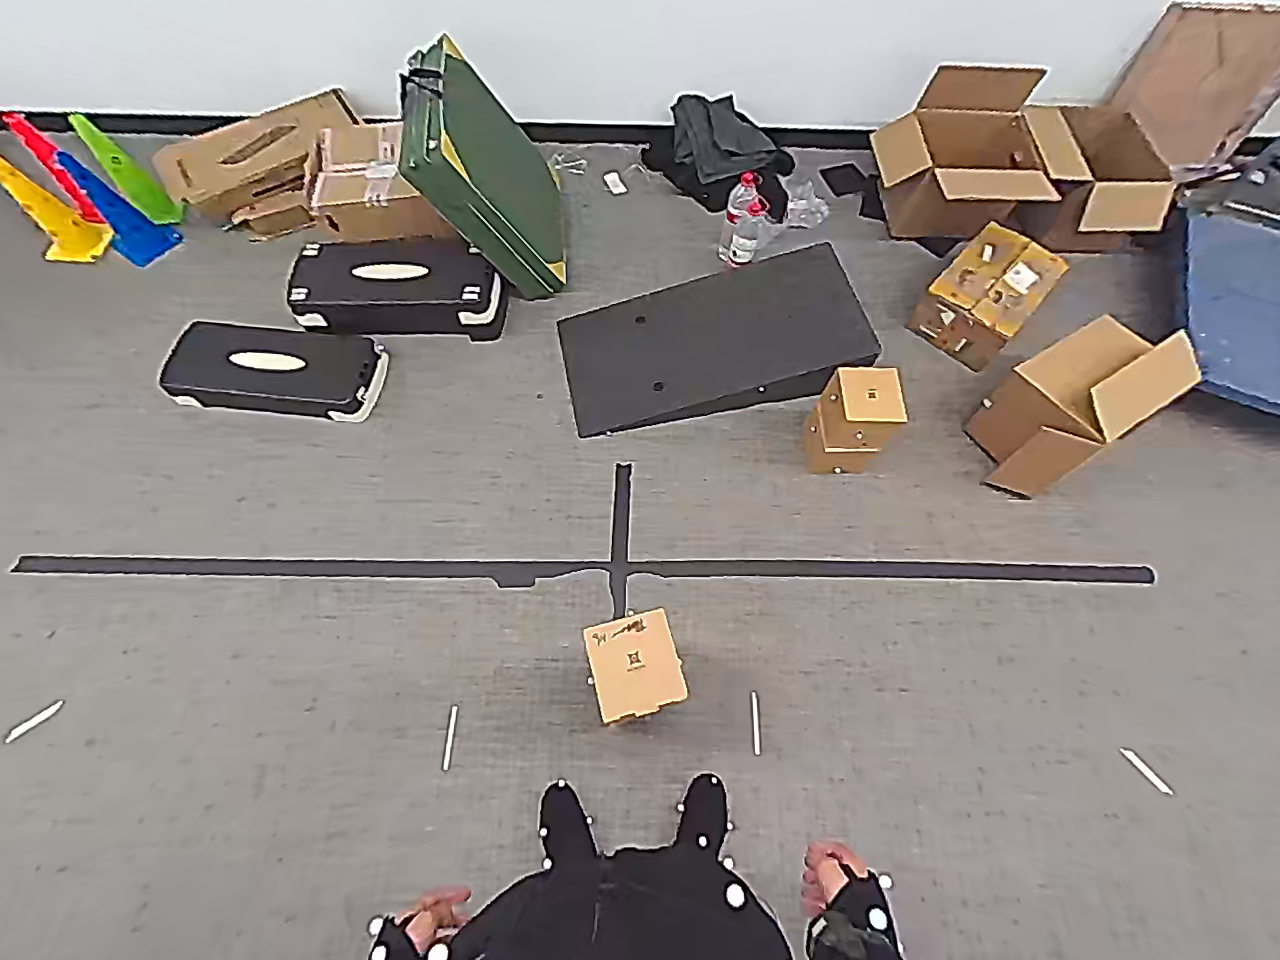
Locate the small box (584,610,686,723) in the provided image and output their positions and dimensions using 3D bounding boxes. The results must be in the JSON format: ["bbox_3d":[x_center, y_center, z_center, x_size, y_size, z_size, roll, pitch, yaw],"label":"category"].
[{"bbox_3d":[-0.013,0.381,1.100,0.168,0.176,0.179,-13,67,-7],"label":"small box"}]
